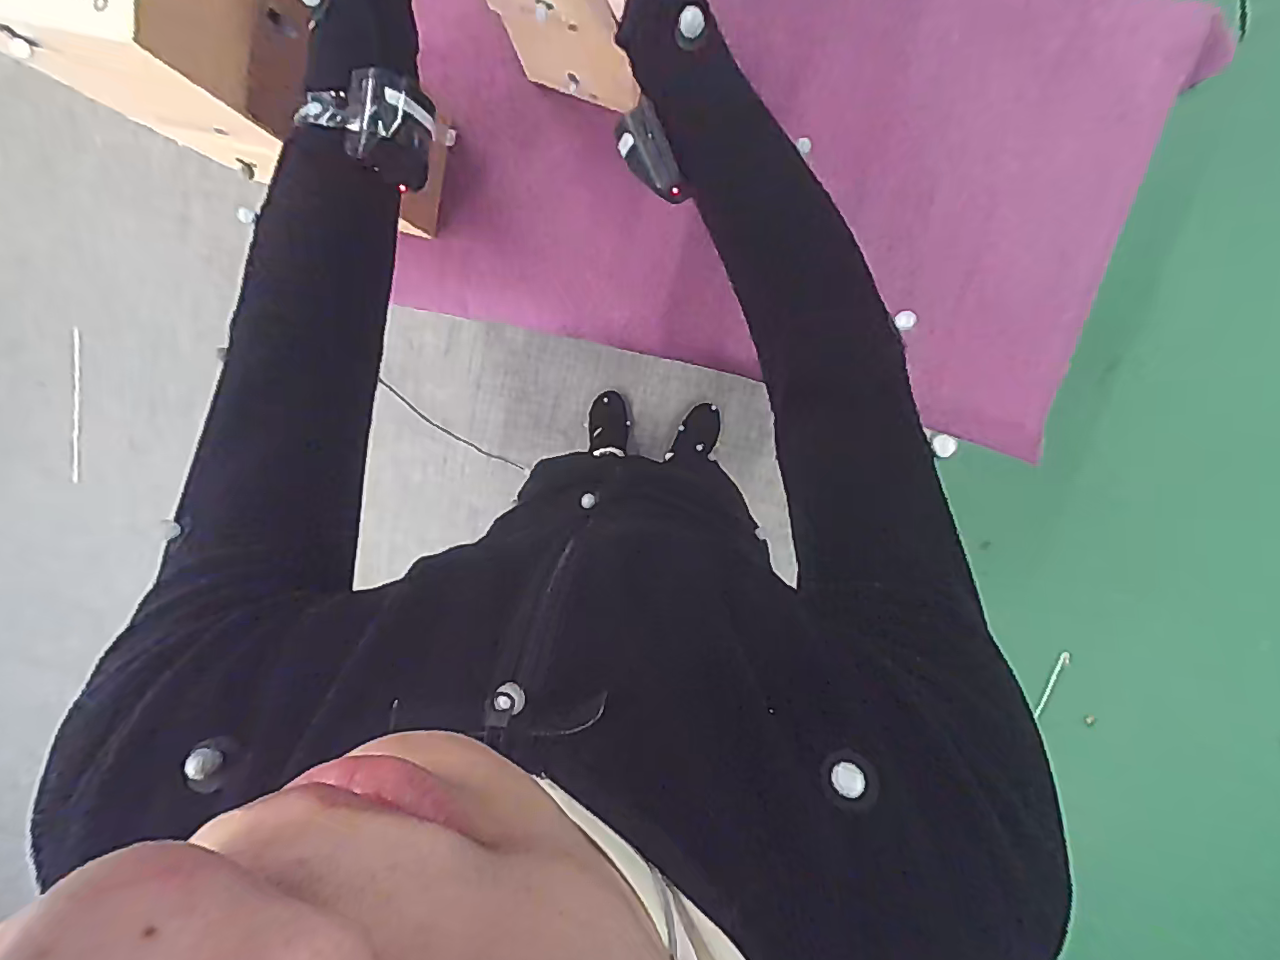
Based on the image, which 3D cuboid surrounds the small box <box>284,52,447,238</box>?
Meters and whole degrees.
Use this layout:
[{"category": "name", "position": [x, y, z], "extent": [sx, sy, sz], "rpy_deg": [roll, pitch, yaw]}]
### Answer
[{"category": "small box", "position": [-0.379, -0.455, 0.734], "extent": [0.168, 0.176, 0.179], "rpy_deg": [14, 101, -1]}]

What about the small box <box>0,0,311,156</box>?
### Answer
[{"category": "small box", "position": [-0.385, -0.390, 0.414], "extent": [0.168, 0.176, 0.179], "rpy_deg": [12, 99, 1]}]

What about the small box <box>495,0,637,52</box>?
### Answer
[{"category": "small box", "position": [-0.074, -0.583, 0.532], "extent": [0.168, 0.176, 0.179], "rpy_deg": [17, 103, -2]}]

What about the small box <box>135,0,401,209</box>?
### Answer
[{"category": "small box", "position": [-0.379, -0.417, 0.577], "extent": [0.168, 0.176, 0.179], "rpy_deg": [14, 100, 0]}]

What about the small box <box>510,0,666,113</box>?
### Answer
[{"category": "small box", "position": [-0.062, -0.621, 0.692], "extent": [0.168, 0.176, 0.179], "rpy_deg": [18, 102, -2]}]
